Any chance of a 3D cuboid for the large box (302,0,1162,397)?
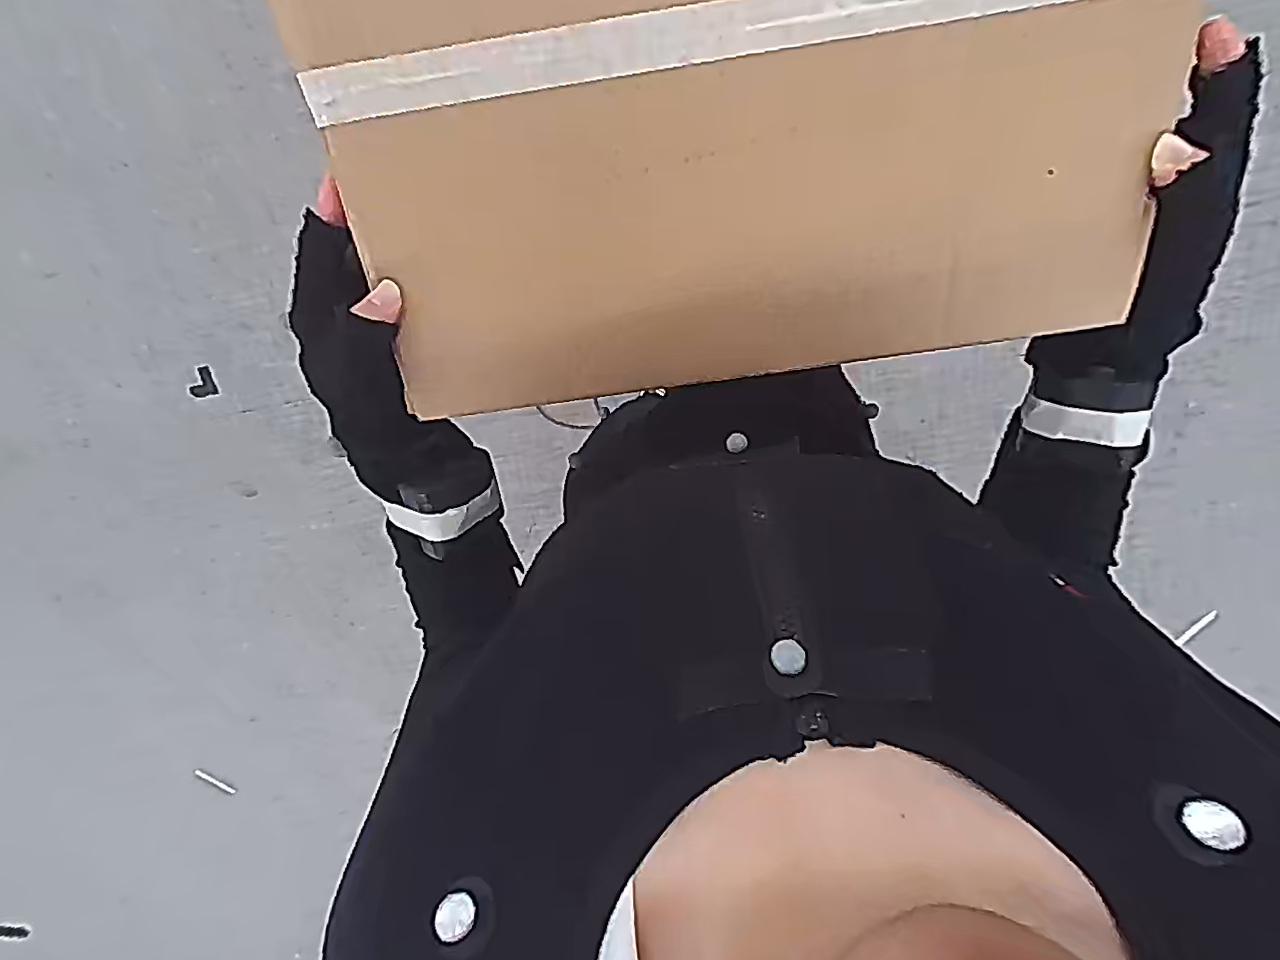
[{"bbox_3d":[0.040,-0.276,0.391,0.408,0.320,0.320,-8,115,2],"label":"large box"}]
